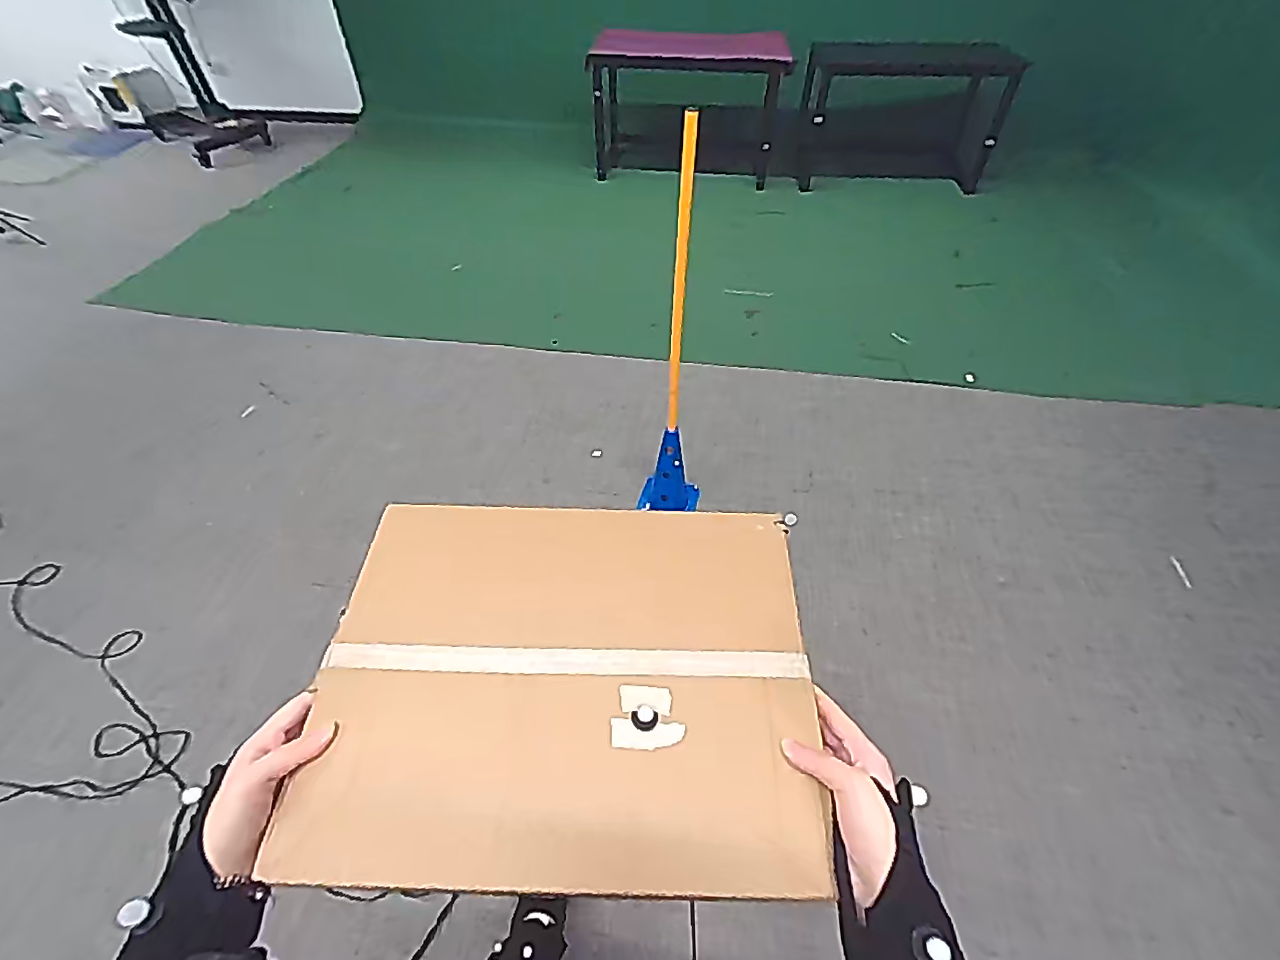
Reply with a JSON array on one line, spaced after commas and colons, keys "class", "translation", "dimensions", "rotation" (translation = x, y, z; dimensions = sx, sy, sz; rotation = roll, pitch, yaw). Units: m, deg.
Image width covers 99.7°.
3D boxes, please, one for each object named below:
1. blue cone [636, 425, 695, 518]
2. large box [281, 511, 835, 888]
[{"class": "blue cone", "translation": [0.094, -0.028, 1.814], "dimensions": [0.193, 0.380, 0.192], "rotation": [13, 49, 12]}, {"class": "large box", "translation": [-0.061, 0.248, 0.590], "dimensions": [0.408, 0.320, 0.320], "rotation": [2, 53, -1]}]
